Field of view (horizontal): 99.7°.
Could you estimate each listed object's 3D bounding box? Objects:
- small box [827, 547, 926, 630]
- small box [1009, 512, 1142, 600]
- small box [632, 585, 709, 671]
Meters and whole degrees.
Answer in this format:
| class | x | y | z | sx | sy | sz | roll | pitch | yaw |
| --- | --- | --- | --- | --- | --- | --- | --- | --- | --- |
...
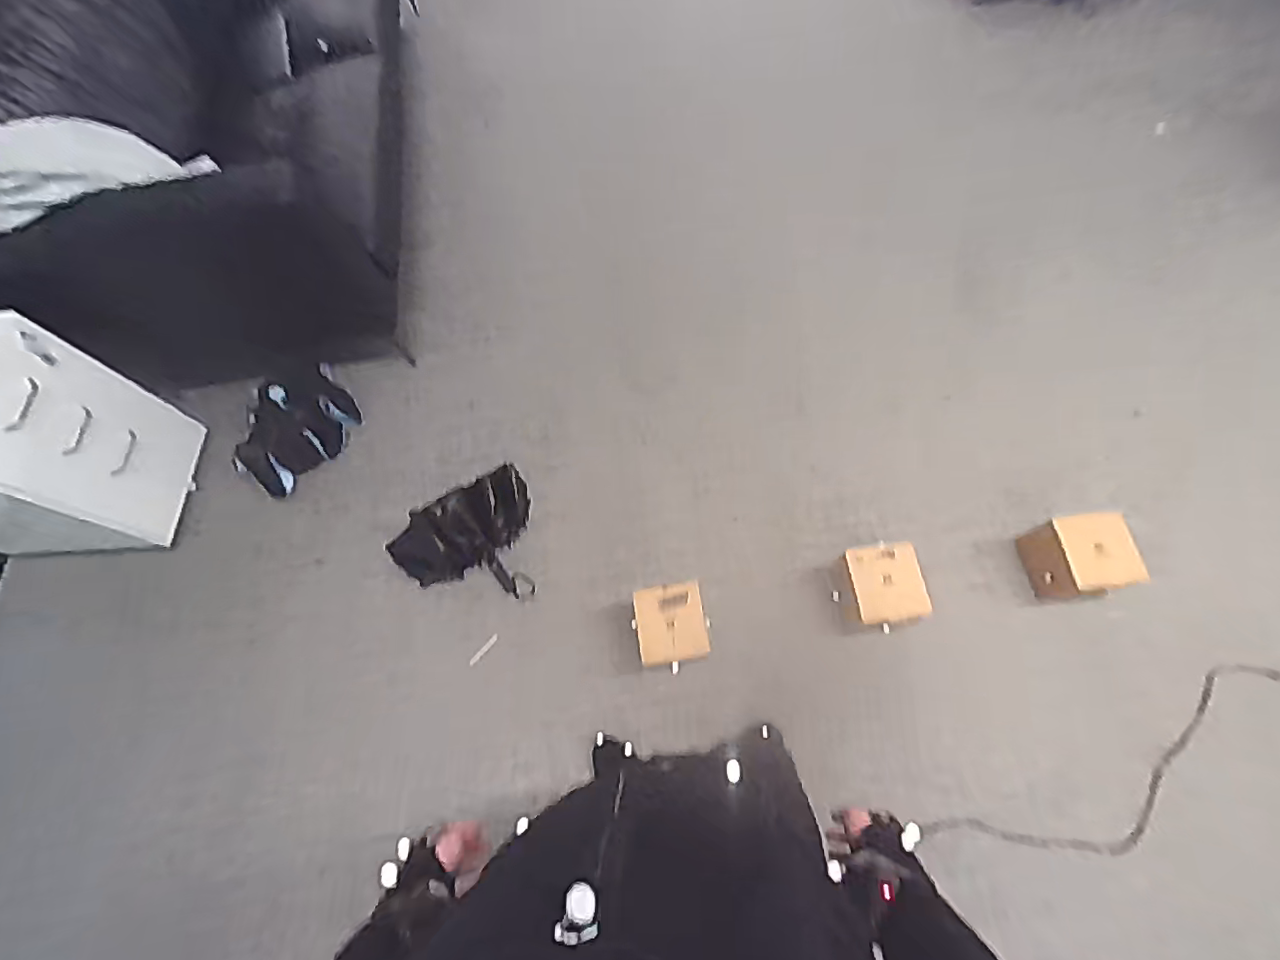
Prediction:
| class | x | y | z | sx | sy | sz | roll | pitch | yaw |
| --- | --- | --- | --- | --- | --- | --- | --- | --- | --- |
| small box | 0.590 | 0.283 | 1.374 | 0.168 | 0.176 | 0.179 | -7 | 67 | 2 |
| small box | 1.084 | 0.199 | 1.363 | 0.168 | 0.176 | 0.179 | -8 | 66 | 1 |
| small box | 0.077 | 0.381 | 1.379 | 0.168 | 0.176 | 0.179 | -10 | 68 | 1 |
